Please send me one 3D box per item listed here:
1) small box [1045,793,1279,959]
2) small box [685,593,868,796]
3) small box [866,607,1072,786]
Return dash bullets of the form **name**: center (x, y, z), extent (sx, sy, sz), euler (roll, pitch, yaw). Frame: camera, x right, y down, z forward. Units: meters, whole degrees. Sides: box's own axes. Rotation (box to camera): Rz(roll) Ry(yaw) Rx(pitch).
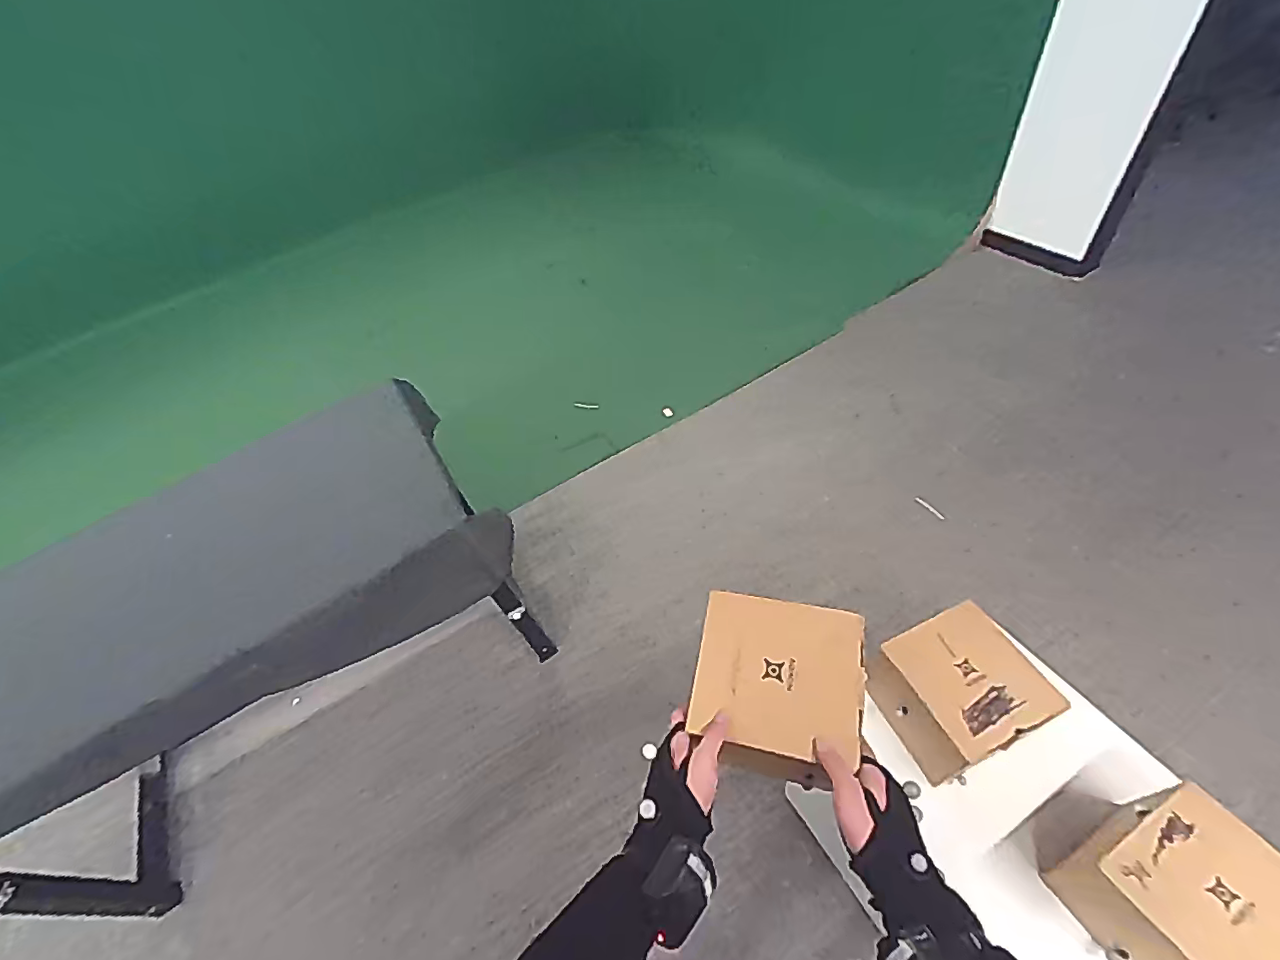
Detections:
- **small box**: center (0.627, 0.501, 0.618), extent (0.168, 0.176, 0.179), euler (-27, 51, -13)
- **small box**: center (0.160, 0.254, 0.635), extent (0.179, 0.176, 0.168), euler (5, 53, 16)
- **small box**: center (0.463, 0.325, 0.797), extent (0.168, 0.176, 0.179), euler (-22, 49, -9)
